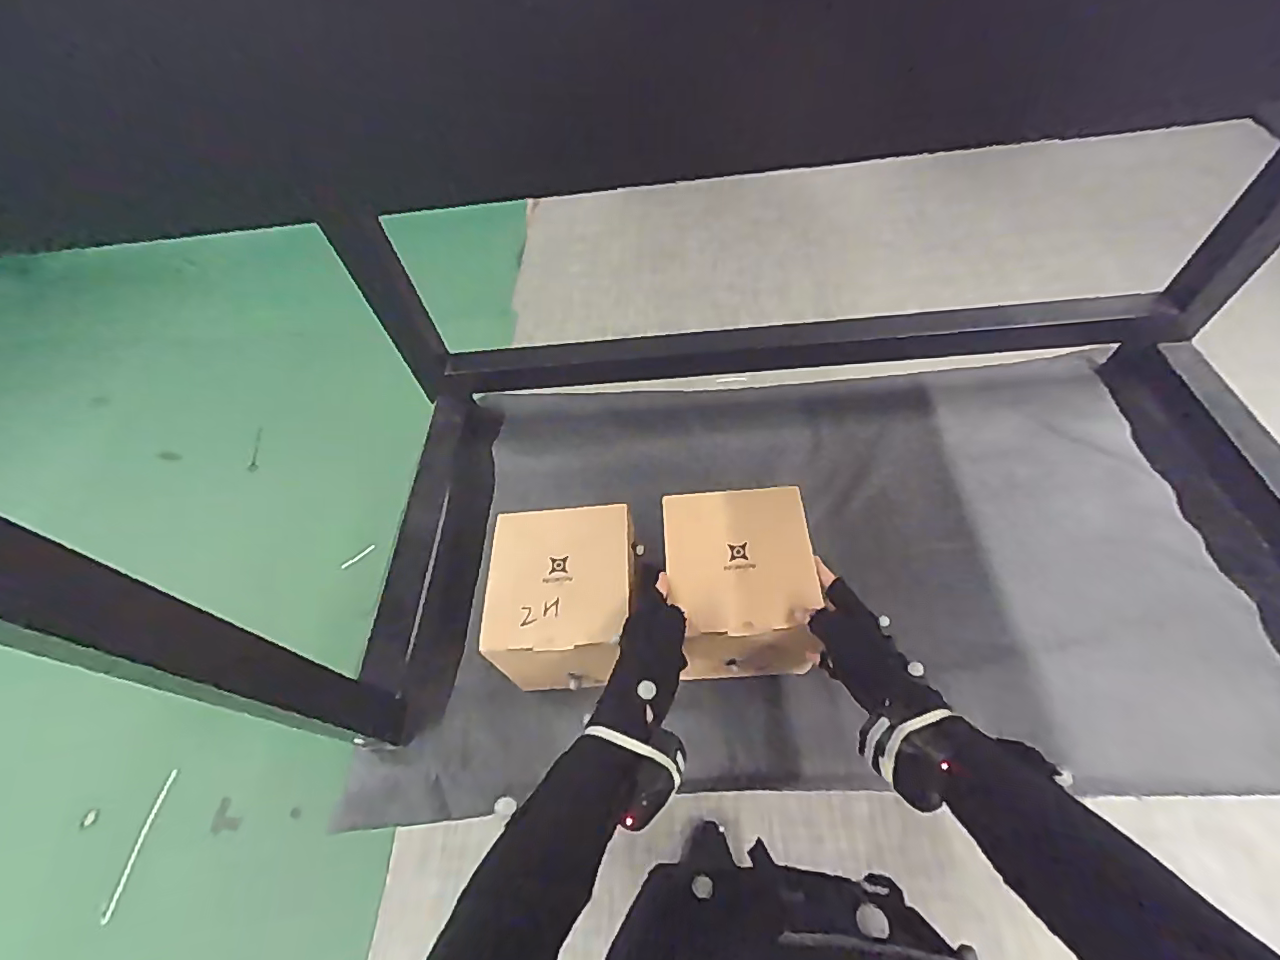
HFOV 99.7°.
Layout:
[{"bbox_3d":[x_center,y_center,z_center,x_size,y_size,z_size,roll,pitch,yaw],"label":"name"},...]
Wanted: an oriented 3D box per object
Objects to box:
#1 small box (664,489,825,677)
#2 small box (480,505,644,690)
[{"bbox_3d":[0.117,0.132,0.673,0.168,0.176,0.179,-5,55,5],"label":"small box"},{"bbox_3d":[-0.085,0.153,0.690,0.168,0.176,0.179,-5,54,5],"label":"small box"}]
